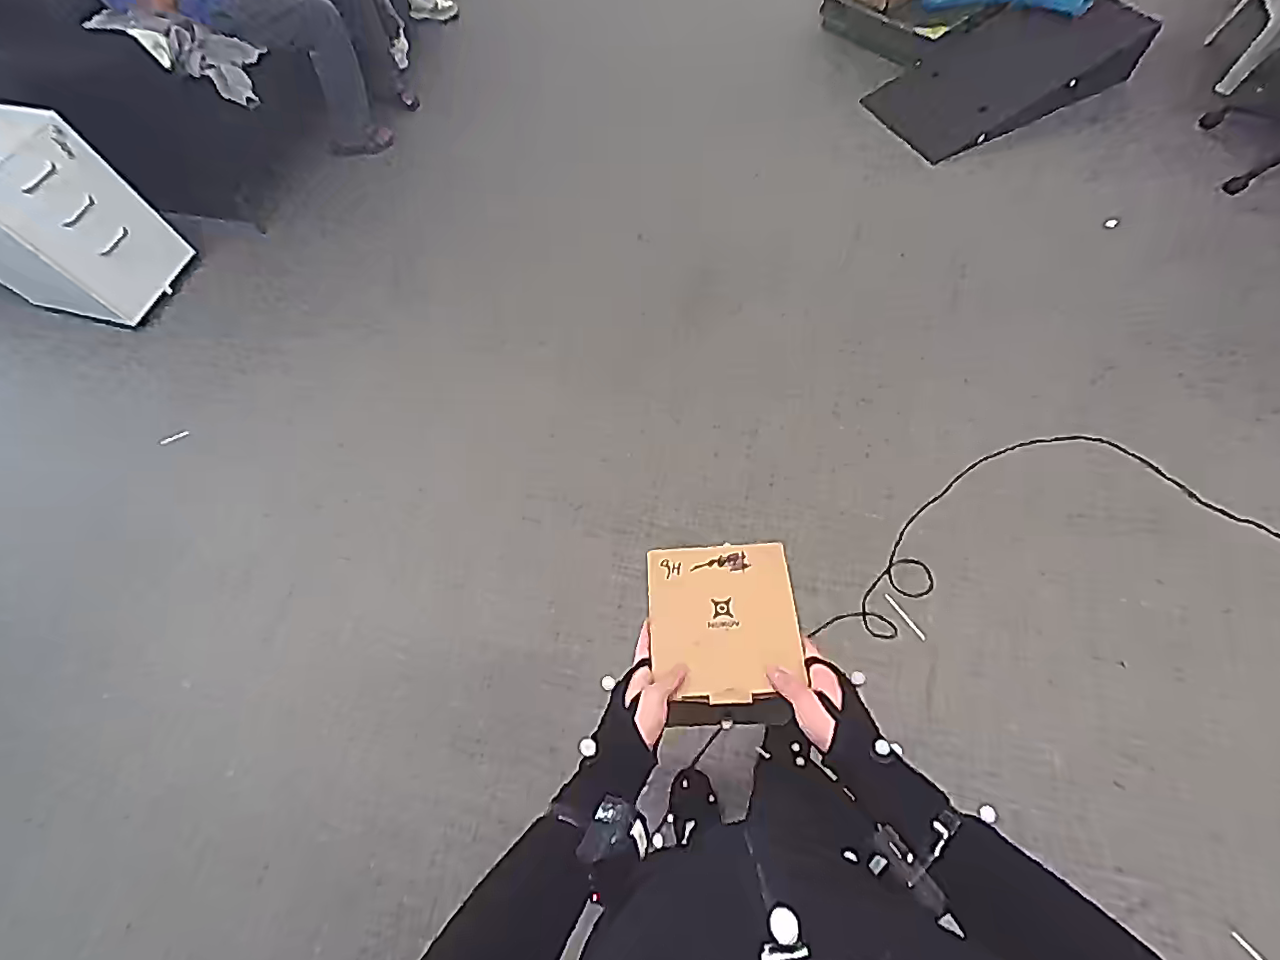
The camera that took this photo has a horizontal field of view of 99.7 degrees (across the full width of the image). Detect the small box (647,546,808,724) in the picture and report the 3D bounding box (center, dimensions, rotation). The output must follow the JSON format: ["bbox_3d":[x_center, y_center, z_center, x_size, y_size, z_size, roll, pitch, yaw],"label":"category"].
[{"bbox_3d":[0.102,0.204,0.687,0.168,0.176,0.179,-6,57,2],"label":"small box"}]
